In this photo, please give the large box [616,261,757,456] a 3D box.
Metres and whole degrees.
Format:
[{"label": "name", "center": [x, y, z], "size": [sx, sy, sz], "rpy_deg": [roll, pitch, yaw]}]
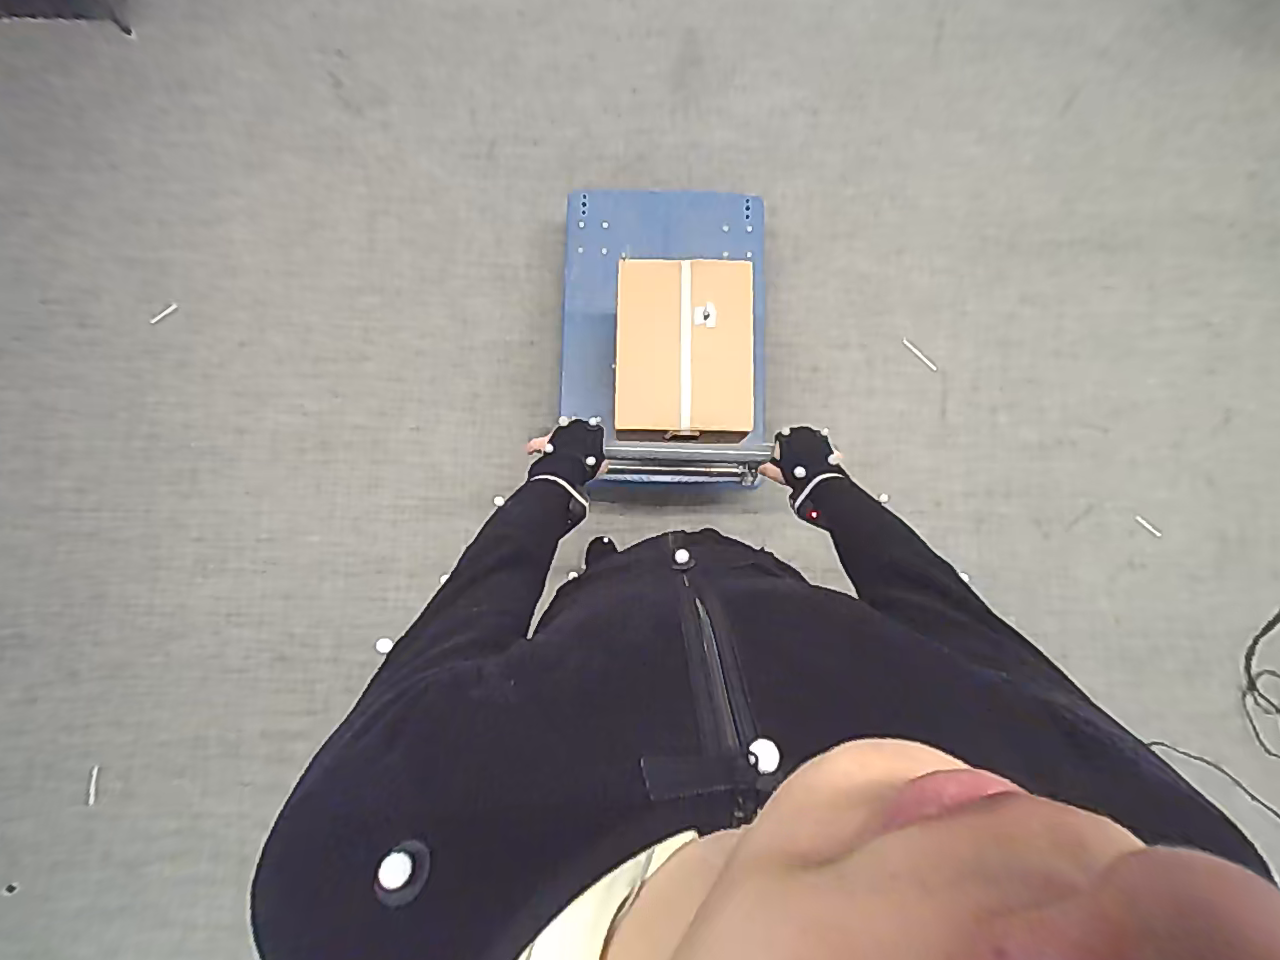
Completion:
[{"label": "large box", "center": [0.103, -0.283, 1.361], "size": [0.320, 0.320, 0.408], "rpy_deg": [1, 83, -1]}]
